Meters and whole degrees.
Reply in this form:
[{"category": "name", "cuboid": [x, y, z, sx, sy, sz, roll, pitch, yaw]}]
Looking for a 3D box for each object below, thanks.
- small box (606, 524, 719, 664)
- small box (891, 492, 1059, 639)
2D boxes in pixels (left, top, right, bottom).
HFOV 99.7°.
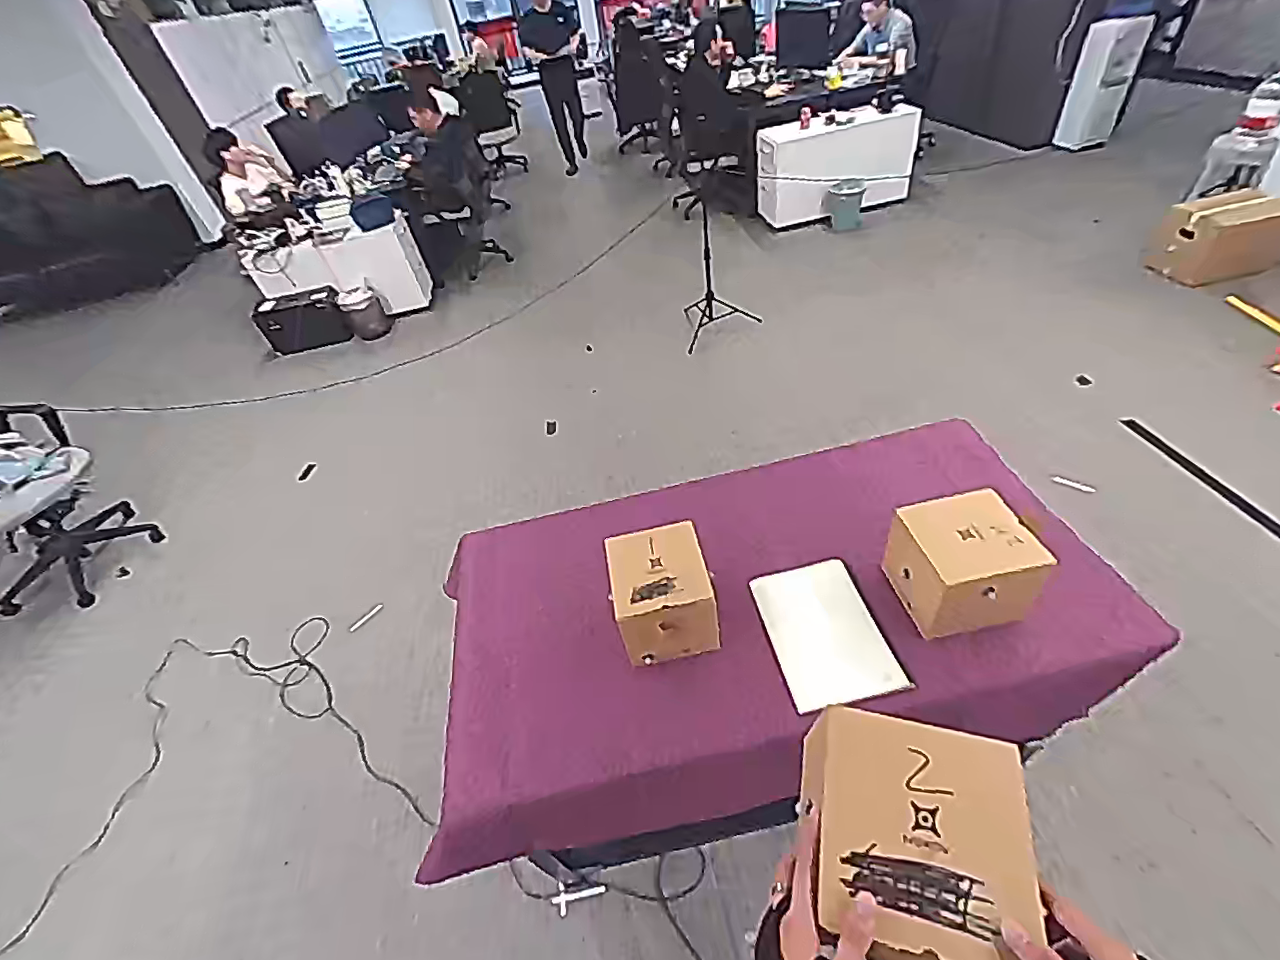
[{"category": "small box", "cuboid": [0.042, 0.212, 0.975, 0.168, 0.176, 0.179, -12, 43, 0]}, {"category": "small box", "cuboid": [0.549, 0.150, 0.922, 0.179, 0.176, 0.168, -12, 44, 1]}]
